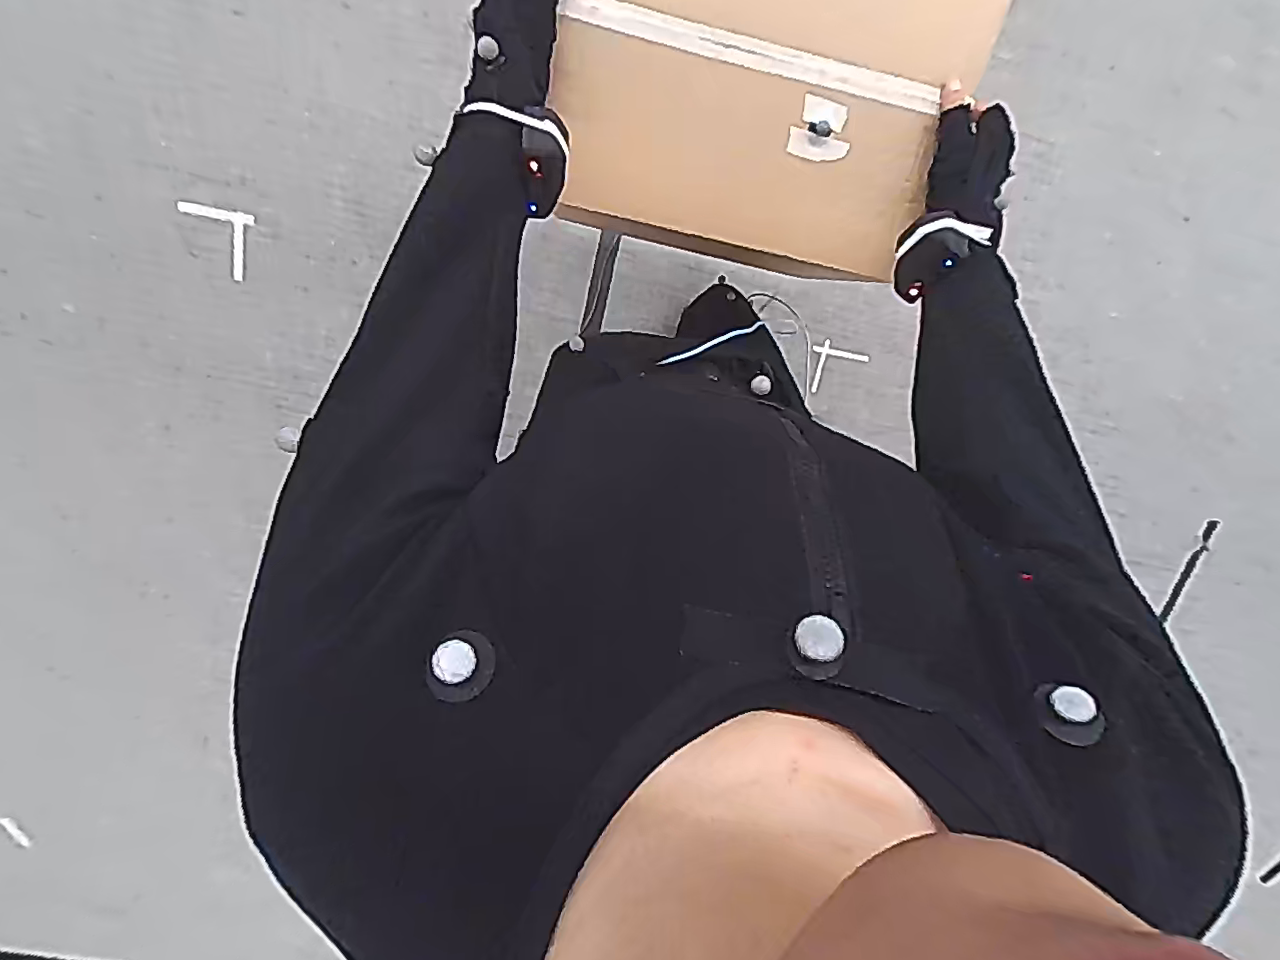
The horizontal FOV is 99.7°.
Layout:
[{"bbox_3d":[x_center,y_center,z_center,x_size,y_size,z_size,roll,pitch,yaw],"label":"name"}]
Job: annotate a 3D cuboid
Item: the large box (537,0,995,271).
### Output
[{"bbox_3d":[0.108,-0.451,0.648,0.408,0.320,0.320,10,112,-7],"label":"large box"}]
